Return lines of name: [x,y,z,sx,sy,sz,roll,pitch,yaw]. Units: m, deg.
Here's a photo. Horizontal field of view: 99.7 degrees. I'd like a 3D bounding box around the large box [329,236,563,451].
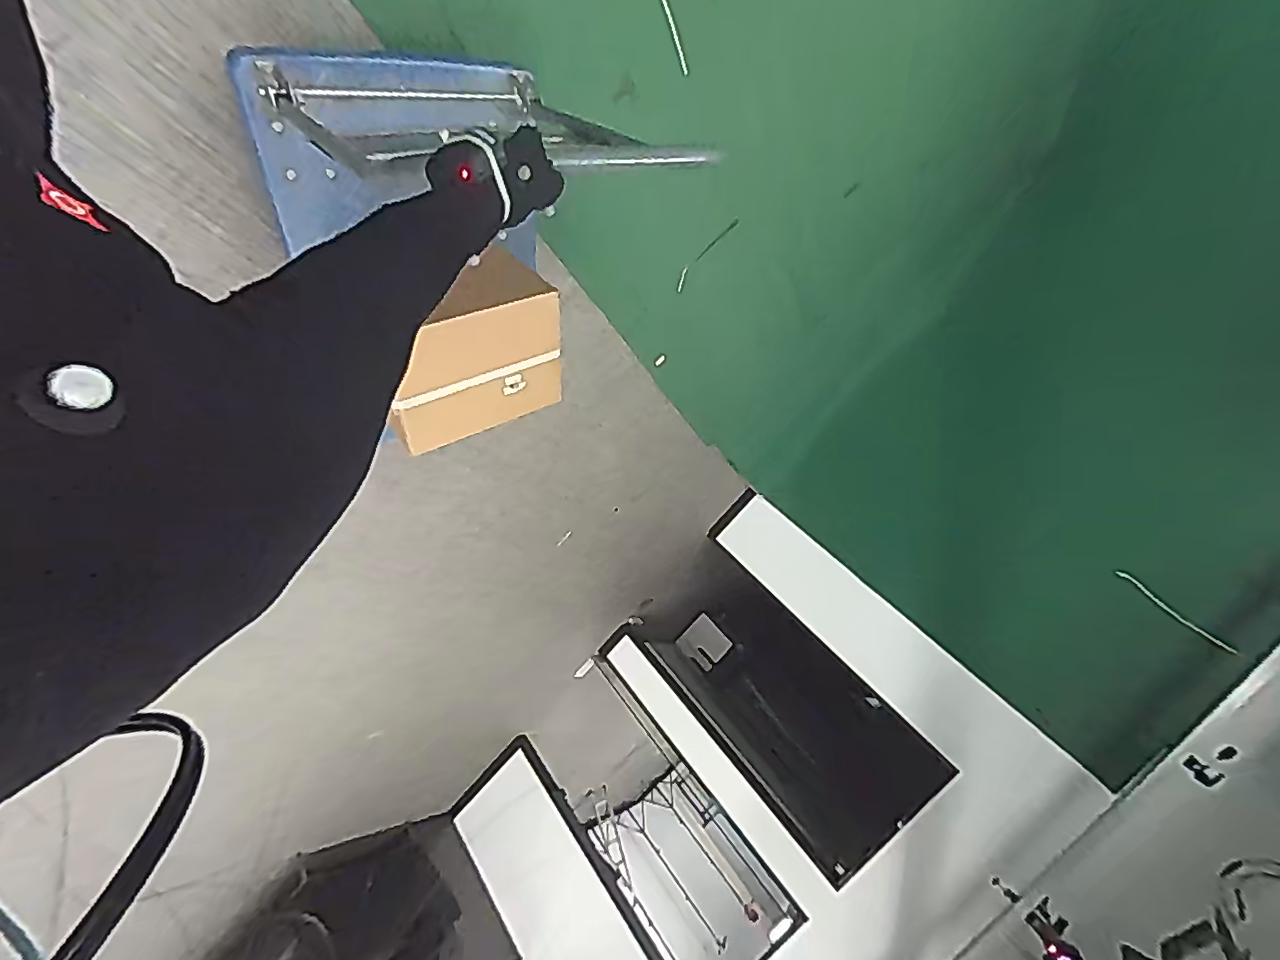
large box: [-0.440,-0.340,1.291,0.408,0.320,0.320,-29,146,-29]
